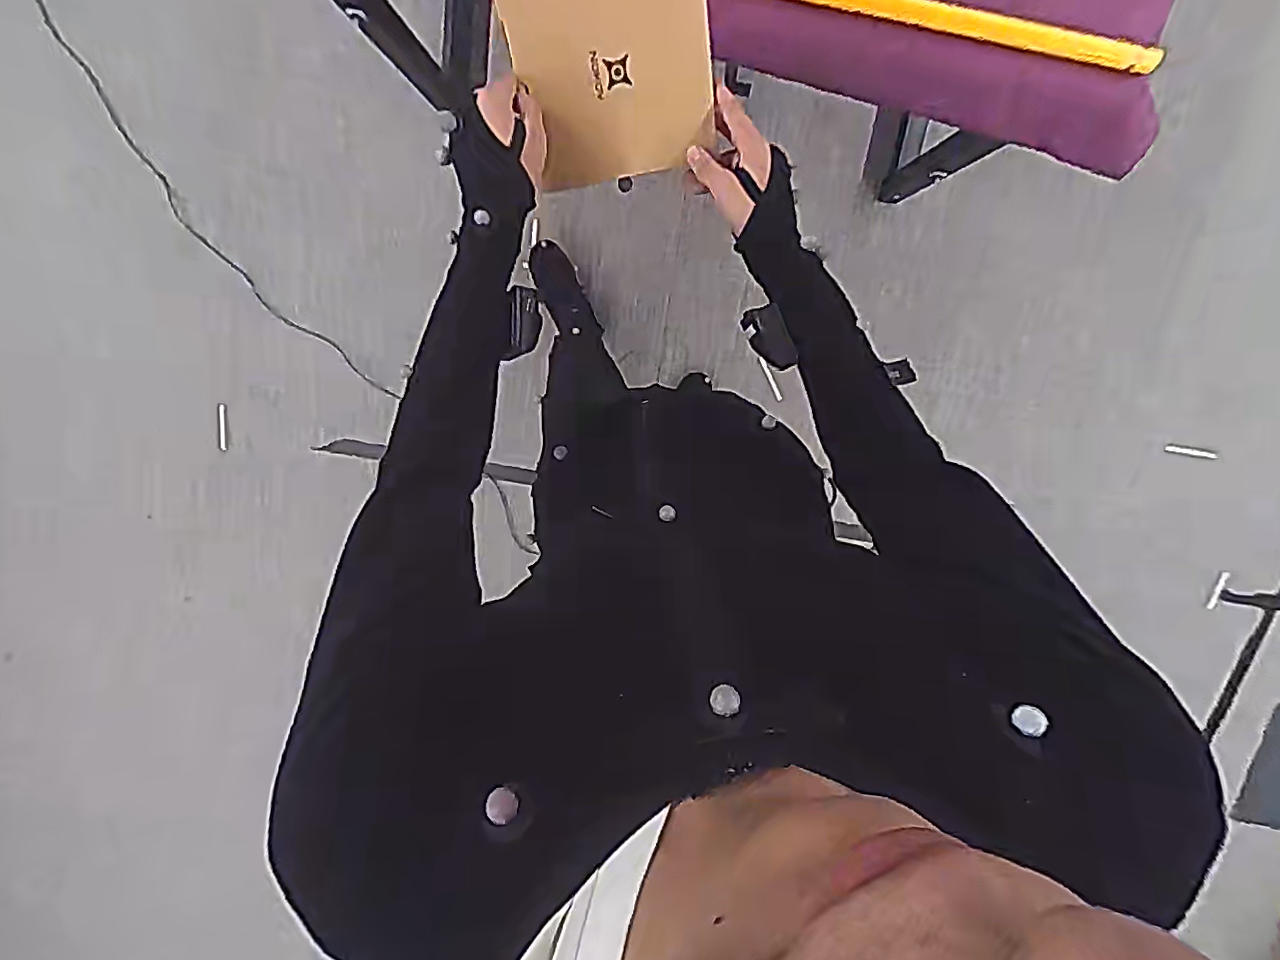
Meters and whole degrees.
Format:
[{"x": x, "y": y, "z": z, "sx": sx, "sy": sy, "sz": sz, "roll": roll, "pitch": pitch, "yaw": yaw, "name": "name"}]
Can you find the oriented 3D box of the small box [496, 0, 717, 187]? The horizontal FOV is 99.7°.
[{"x": -0.024, "y": -0.410, "z": 0.536, "sx": 0.179, "sy": 0.176, "sz": 0.168, "roll": -6, "pitch": 127, "yaw": 7, "name": "small box"}]
